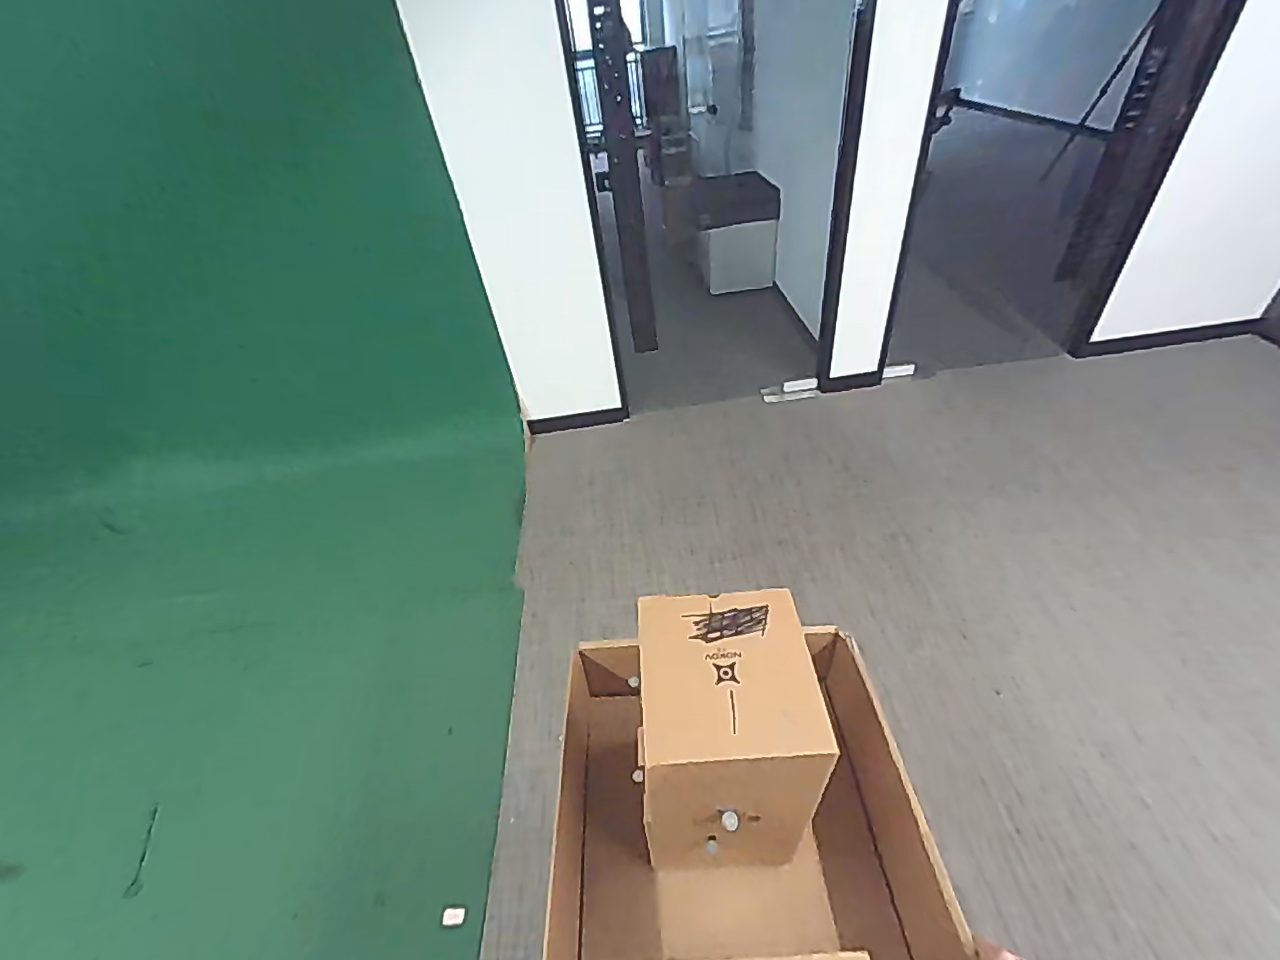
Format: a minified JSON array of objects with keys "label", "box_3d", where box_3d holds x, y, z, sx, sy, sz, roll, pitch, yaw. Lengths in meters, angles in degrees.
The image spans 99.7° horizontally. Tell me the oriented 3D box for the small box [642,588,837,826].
[{"label":"small box","box_3d":[0.088,0.237,0.572,0.168,0.176,0.179,-4,42,1]}]
